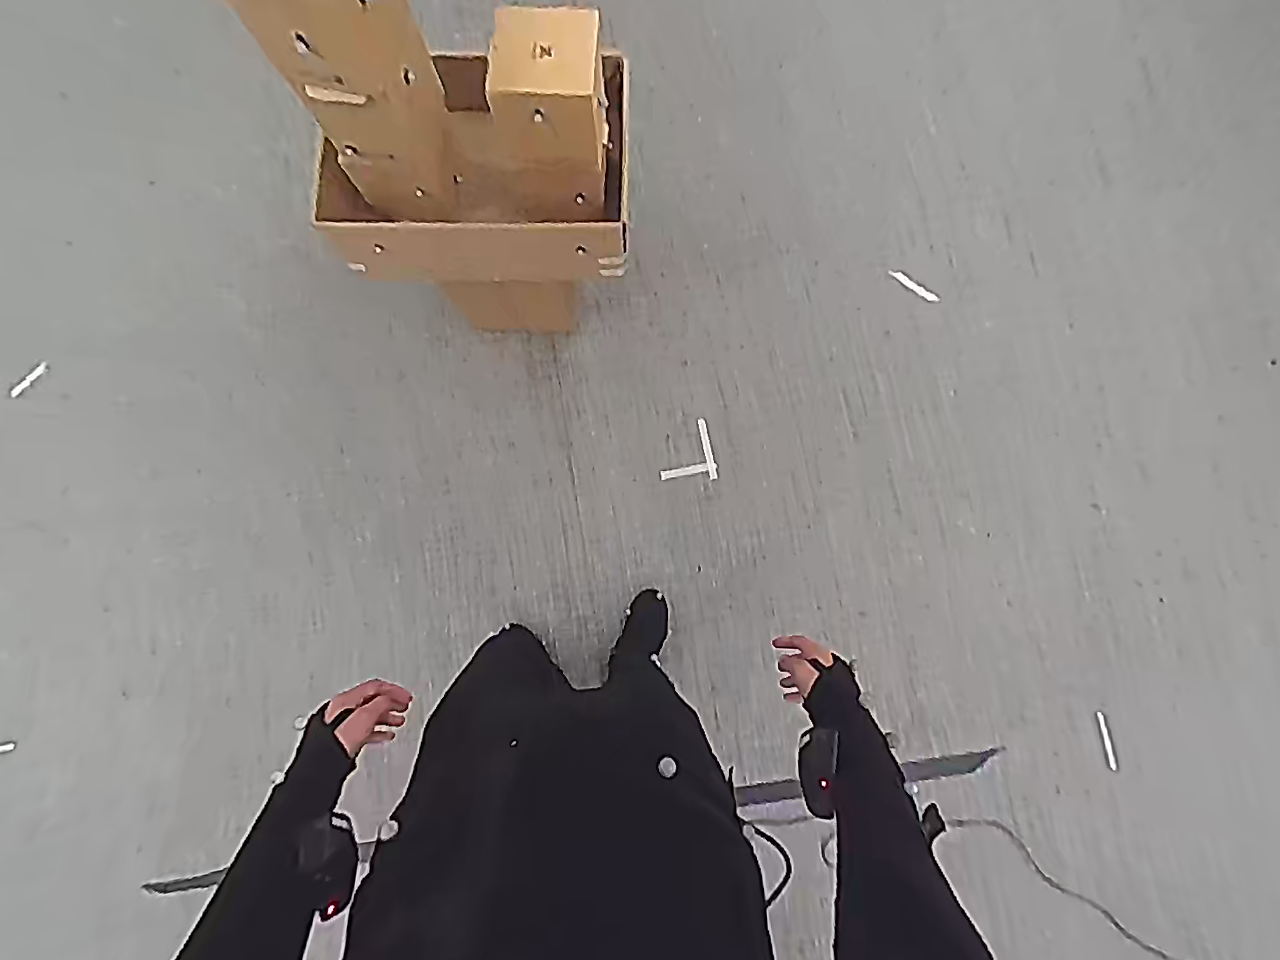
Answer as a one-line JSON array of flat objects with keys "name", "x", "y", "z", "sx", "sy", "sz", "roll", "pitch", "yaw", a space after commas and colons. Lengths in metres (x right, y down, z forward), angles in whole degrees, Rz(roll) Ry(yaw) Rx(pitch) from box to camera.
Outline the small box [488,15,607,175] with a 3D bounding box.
[{"name": "small box", "x": -0.154, "y": -0.671, "z": 0.961, "sx": 0.179, "sy": 0.176, "sz": 0.168, "roll": 2, "pitch": 80, "yaw": 2}]

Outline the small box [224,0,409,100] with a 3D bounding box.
[{"name": "small box", "x": -0.471, "y": -0.713, "z": 0.803, "sx": 0.168, "sy": 0.176, "sz": 0.179, "roll": 11, "pitch": 81, "yaw": 2}]

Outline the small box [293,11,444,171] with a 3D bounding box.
[{"name": "small box", "x": -0.470, "y": -0.690, "z": 0.966, "sx": 0.168, "sy": 0.176, "sz": 0.179, "roll": 8, "pitch": 80, "yaw": 2}]
